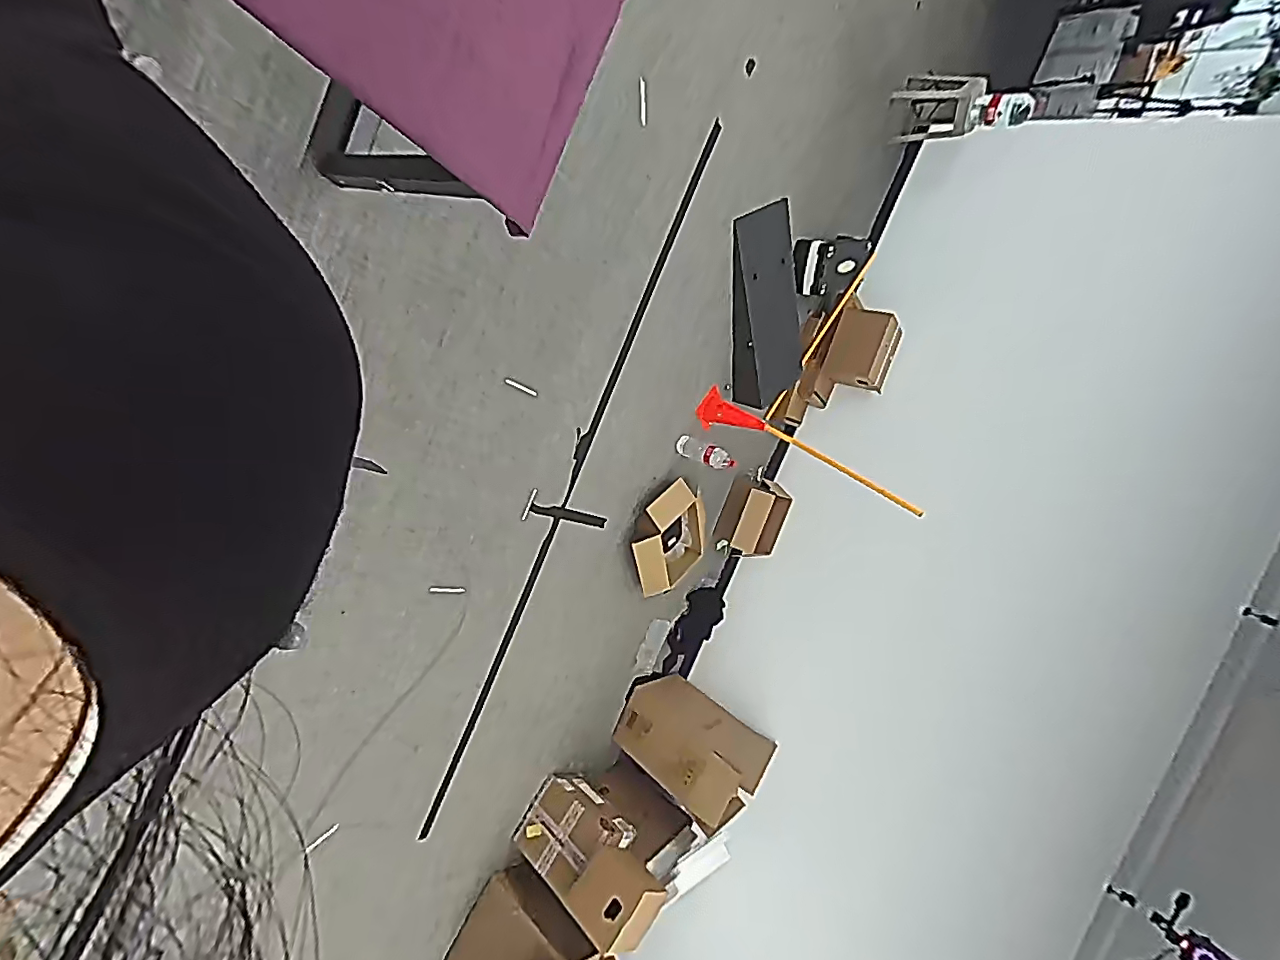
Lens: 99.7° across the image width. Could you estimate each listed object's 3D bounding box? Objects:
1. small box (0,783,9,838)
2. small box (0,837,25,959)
[{"bbox_3d":[-0.864,0.420,0.606,0.168,0.176,0.179,21,94,-56],"label":"small box"},{"bbox_3d":[-0.743,0.476,0.514,0.168,0.176,0.179,19,96,-56],"label":"small box"}]
